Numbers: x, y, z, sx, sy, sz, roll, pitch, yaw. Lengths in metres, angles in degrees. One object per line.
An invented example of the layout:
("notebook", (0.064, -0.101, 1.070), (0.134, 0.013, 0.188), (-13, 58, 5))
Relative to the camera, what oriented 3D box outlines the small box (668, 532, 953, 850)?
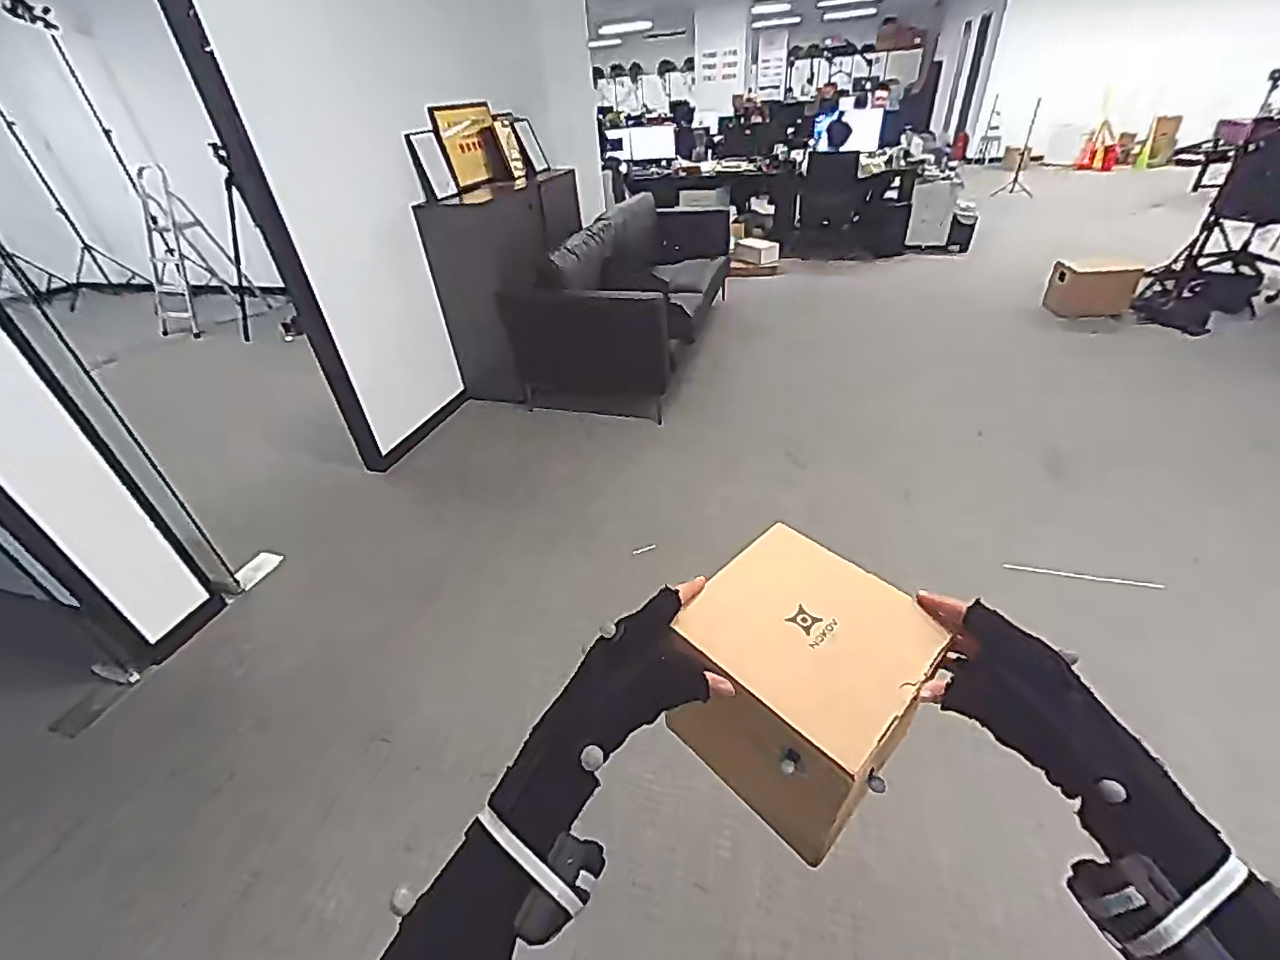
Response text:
("small box", (0.140, 0.185, 0.496), (0.168, 0.176, 0.179), (-31, 47, -32))
